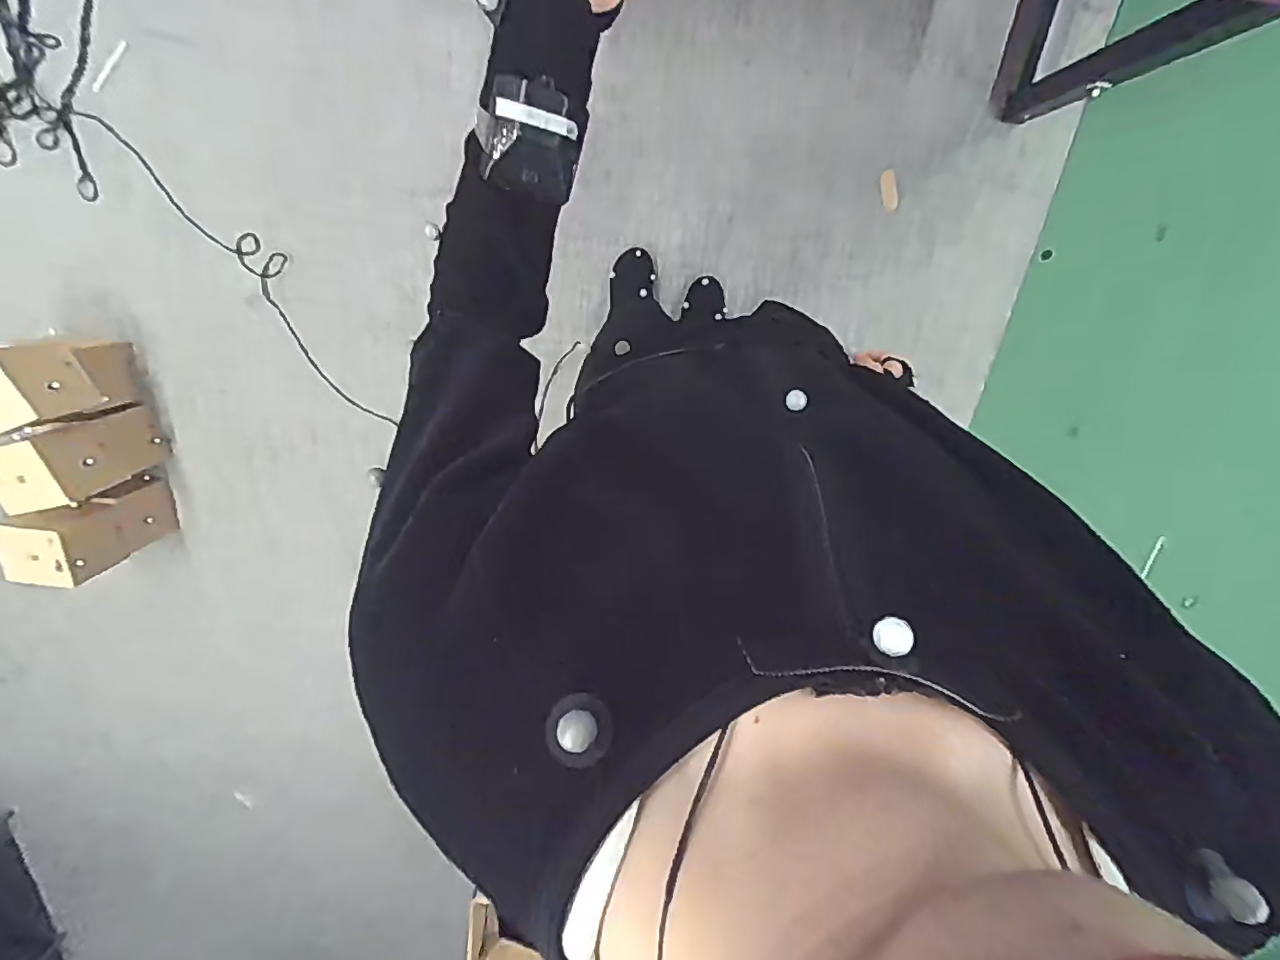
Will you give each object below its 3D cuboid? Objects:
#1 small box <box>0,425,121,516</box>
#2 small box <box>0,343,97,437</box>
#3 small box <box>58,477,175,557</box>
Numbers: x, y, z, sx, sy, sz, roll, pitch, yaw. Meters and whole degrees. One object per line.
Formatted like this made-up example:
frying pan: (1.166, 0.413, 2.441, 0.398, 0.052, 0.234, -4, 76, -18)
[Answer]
small box: (-1.455, -0.029, 1.340, 0.179, 0.176, 0.168, -9, 111, 6)
small box: (-1.447, -0.212, 1.266, 0.179, 0.176, 0.168, -17, 109, 9)
small box: (-1.507, 0.101, 1.566, 0.168, 0.176, 0.179, 7, 112, 0)
